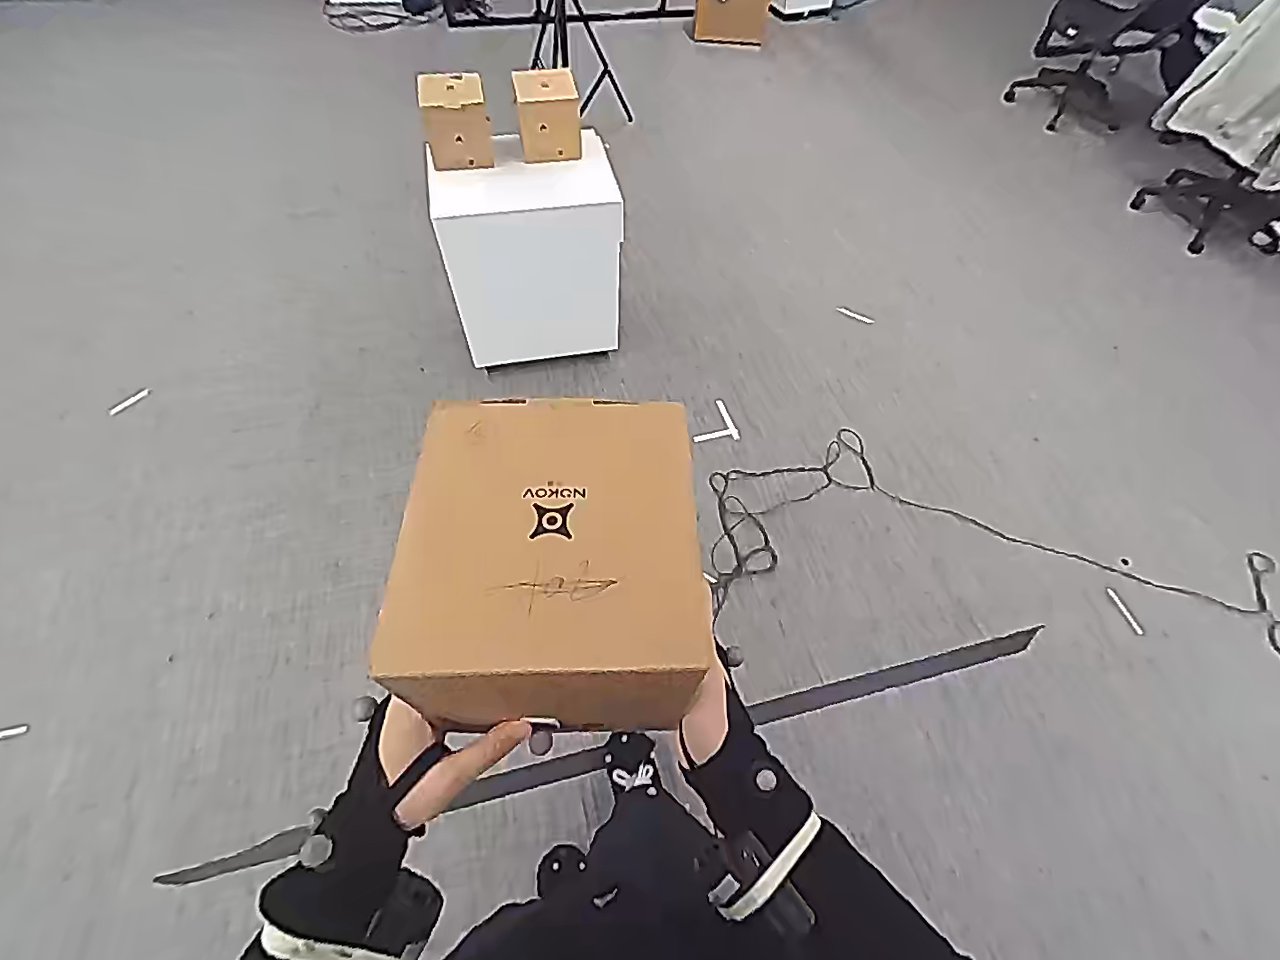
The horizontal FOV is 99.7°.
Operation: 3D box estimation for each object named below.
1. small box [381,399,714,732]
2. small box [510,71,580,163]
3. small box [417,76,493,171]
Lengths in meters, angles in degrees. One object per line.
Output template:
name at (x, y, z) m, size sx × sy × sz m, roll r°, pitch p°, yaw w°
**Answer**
small box at (-0.050, 0.064, 0.375) m, size 0.168 × 0.176 × 0.179 m, roll -1°, pitch 56°, yaw -3°
small box at (-0.269, -1.034, 1.551) m, size 0.168 × 0.176 × 0.179 m, roll -10°, pitch 60°, yaw -9°
small box at (-0.512, -0.986, 1.507) m, size 0.168 × 0.176 × 0.179 m, roll -10°, pitch 61°, yaw -10°
